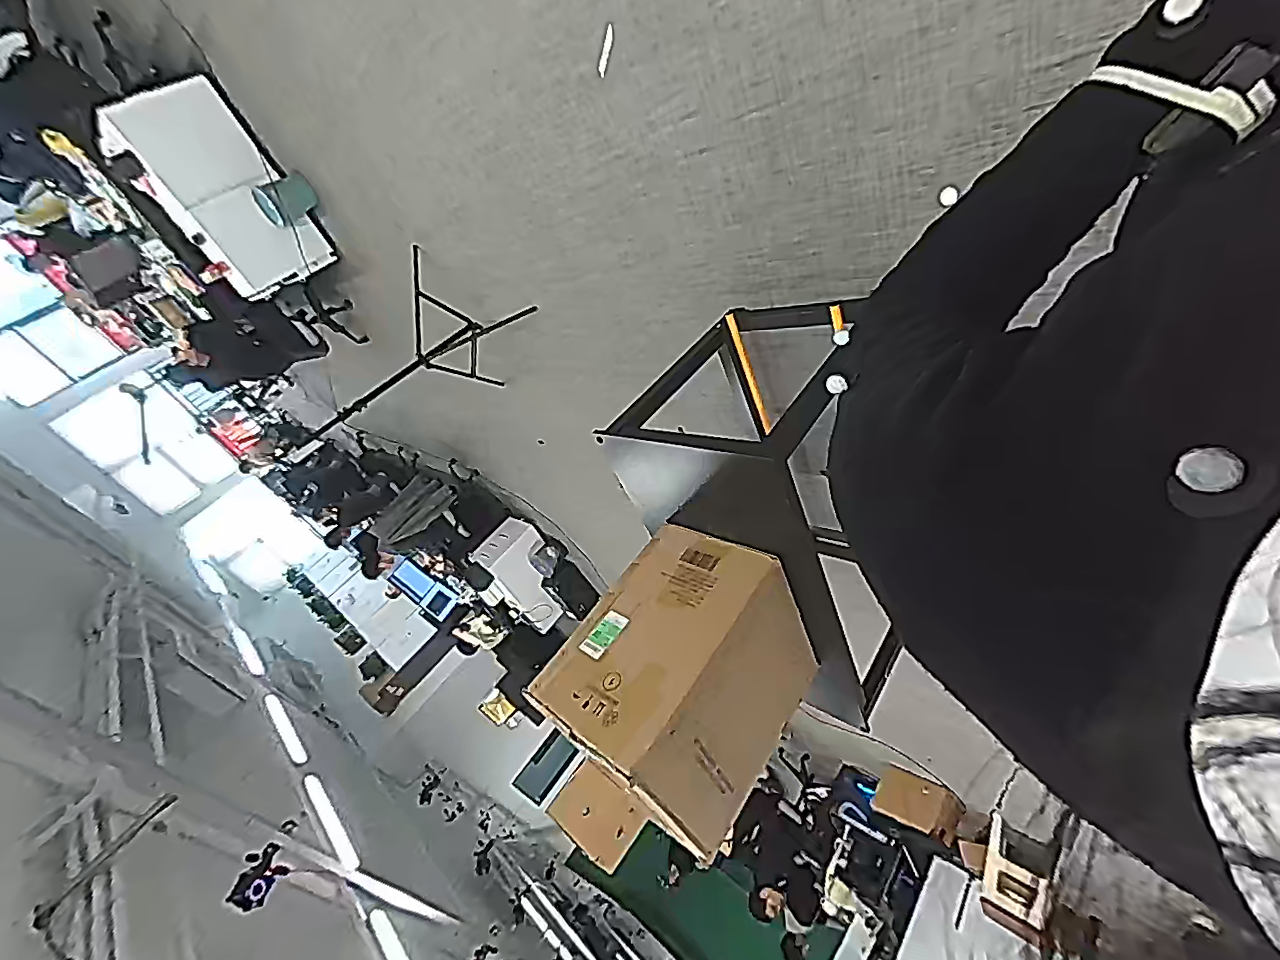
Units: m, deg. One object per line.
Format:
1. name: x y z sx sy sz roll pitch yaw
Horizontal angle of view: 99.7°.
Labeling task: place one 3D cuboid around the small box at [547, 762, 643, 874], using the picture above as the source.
1. small box: -0.114 0.915 1.476 0.179 0.176 0.168 16 142 44
